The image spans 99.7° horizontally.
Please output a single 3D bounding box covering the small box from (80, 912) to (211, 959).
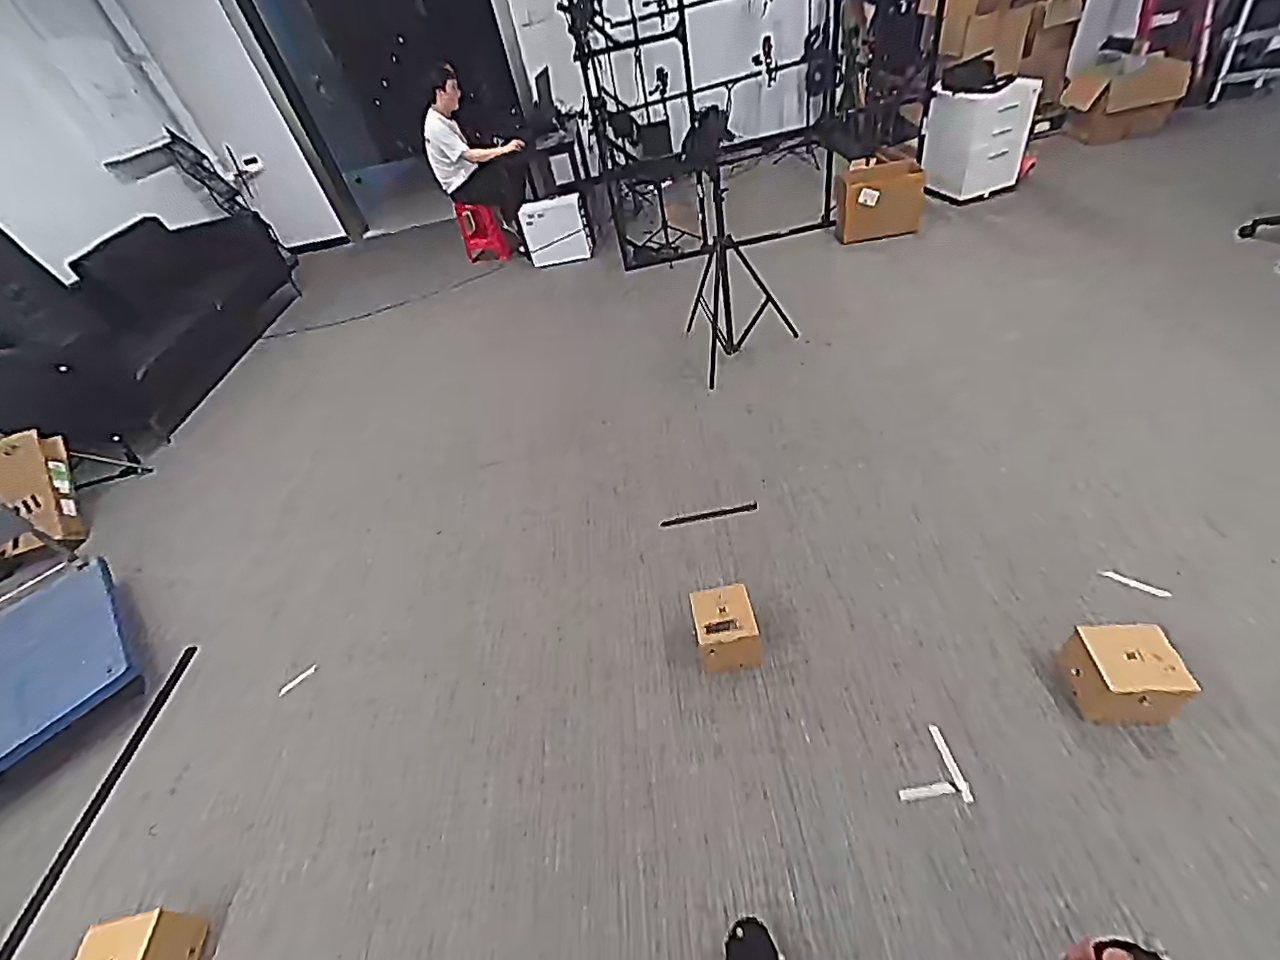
[{"bbox_3d":[-1.149,1.125,1.241,0.179,0.176,0.168,-16,42,0],"label":"small box"}]

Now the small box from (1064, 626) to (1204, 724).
[{"bbox_3d":[1.154,0.466,1.288,0.179,0.176,0.168,-4,44,11],"label":"small box"}]
